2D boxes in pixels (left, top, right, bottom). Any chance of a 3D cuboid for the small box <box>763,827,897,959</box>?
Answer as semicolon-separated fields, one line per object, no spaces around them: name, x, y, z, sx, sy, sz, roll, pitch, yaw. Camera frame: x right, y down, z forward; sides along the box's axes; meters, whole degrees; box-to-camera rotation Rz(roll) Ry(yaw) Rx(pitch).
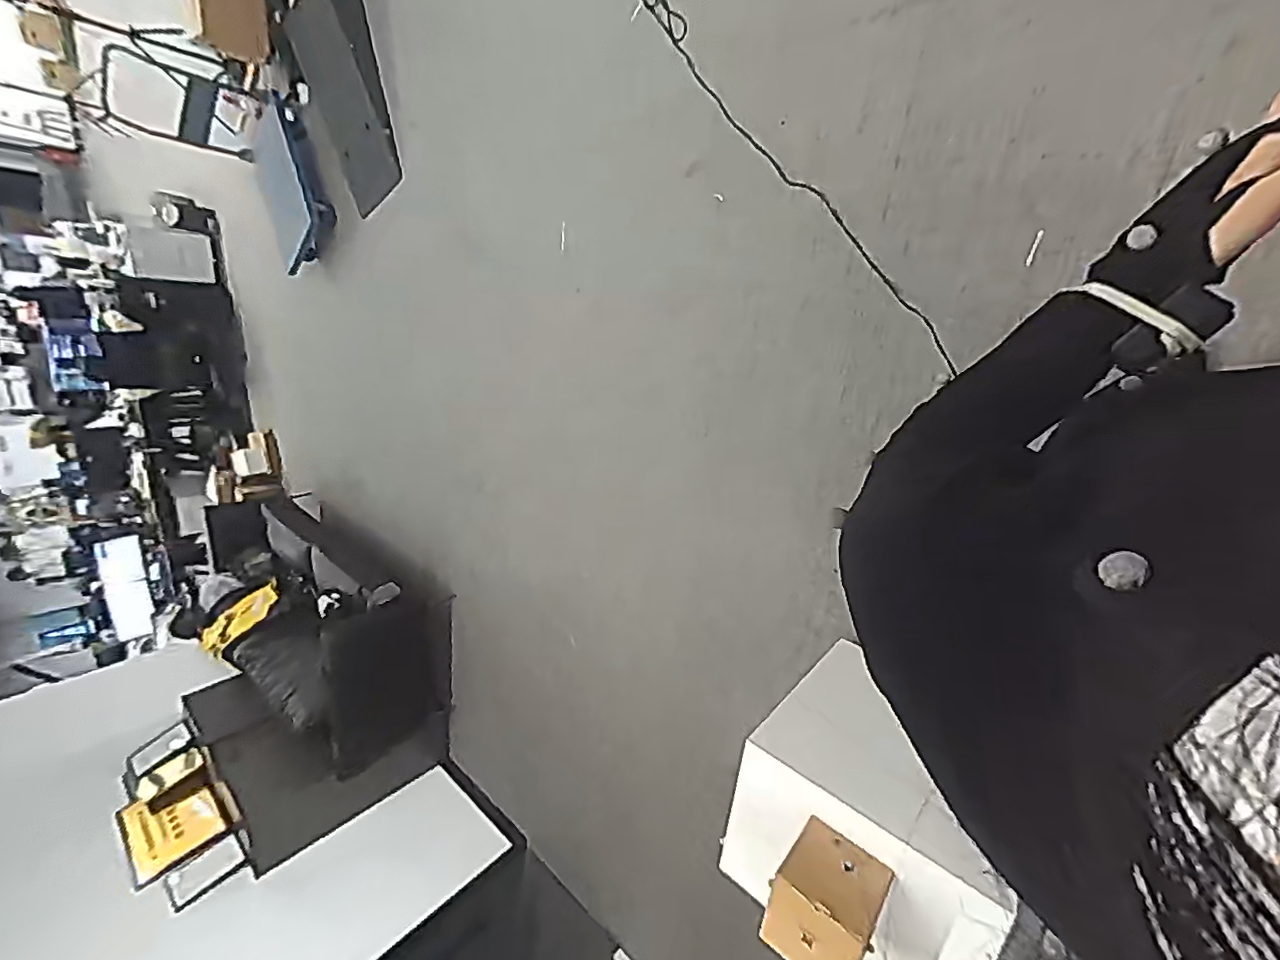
small box;0.351;0.800;0.995;0.168;0.176;0.179;20;113;37
